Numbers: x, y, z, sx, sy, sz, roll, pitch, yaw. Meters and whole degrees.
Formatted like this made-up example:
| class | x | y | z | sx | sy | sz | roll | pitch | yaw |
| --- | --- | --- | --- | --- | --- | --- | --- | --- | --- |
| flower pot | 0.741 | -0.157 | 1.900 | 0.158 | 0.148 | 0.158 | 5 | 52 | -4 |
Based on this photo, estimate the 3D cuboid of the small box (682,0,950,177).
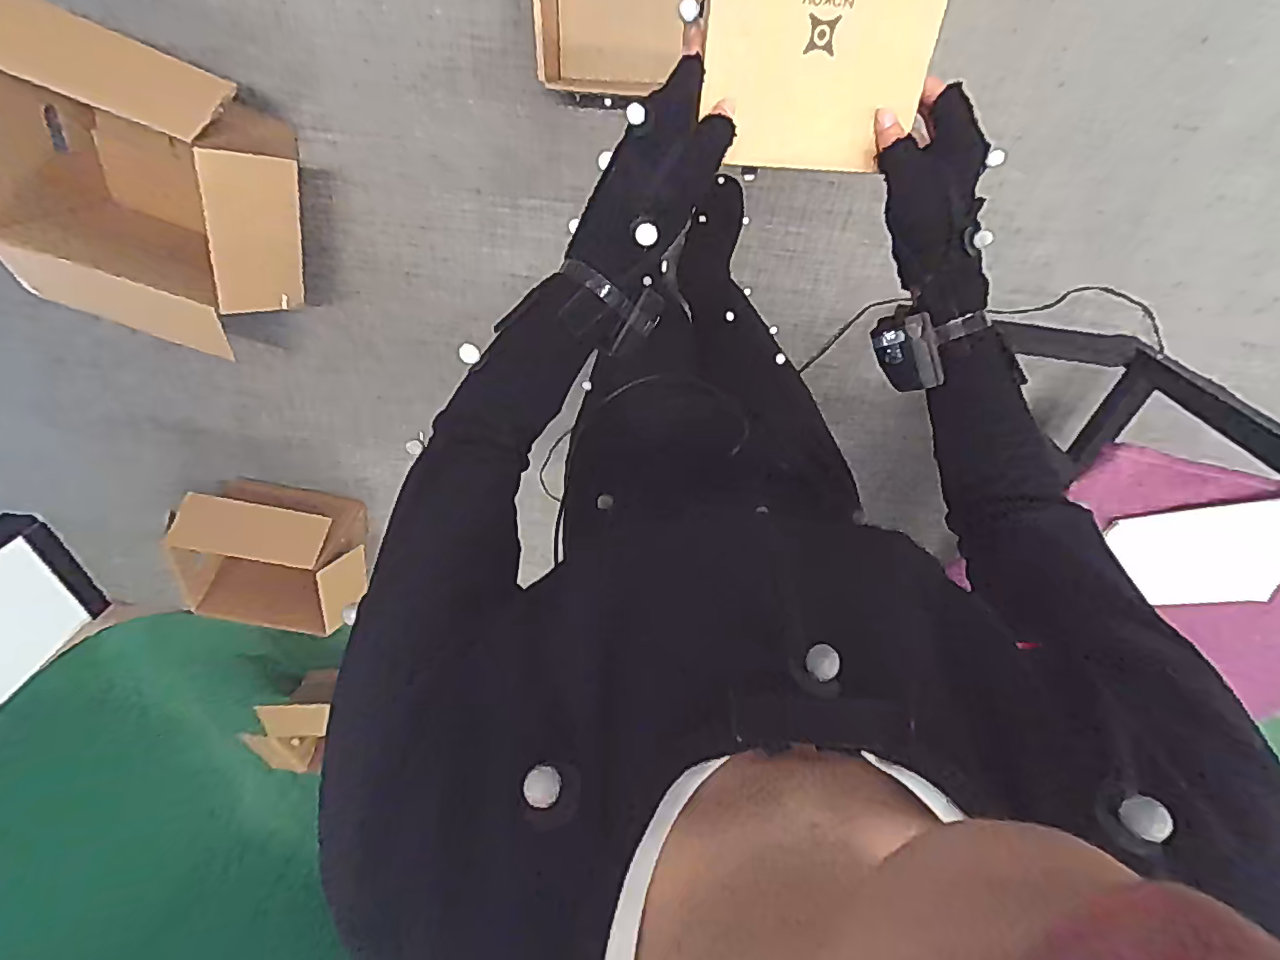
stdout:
| class | x | y | z | sx | sy | sz | roll | pitch | yaw |
| --- | --- | --- | --- | --- | --- | --- | --- | --- | --- |
| small box | 0.128 | -0.361 | 0.444 | 0.168 | 0.176 | 0.179 | 2 | 123 | -3 |
